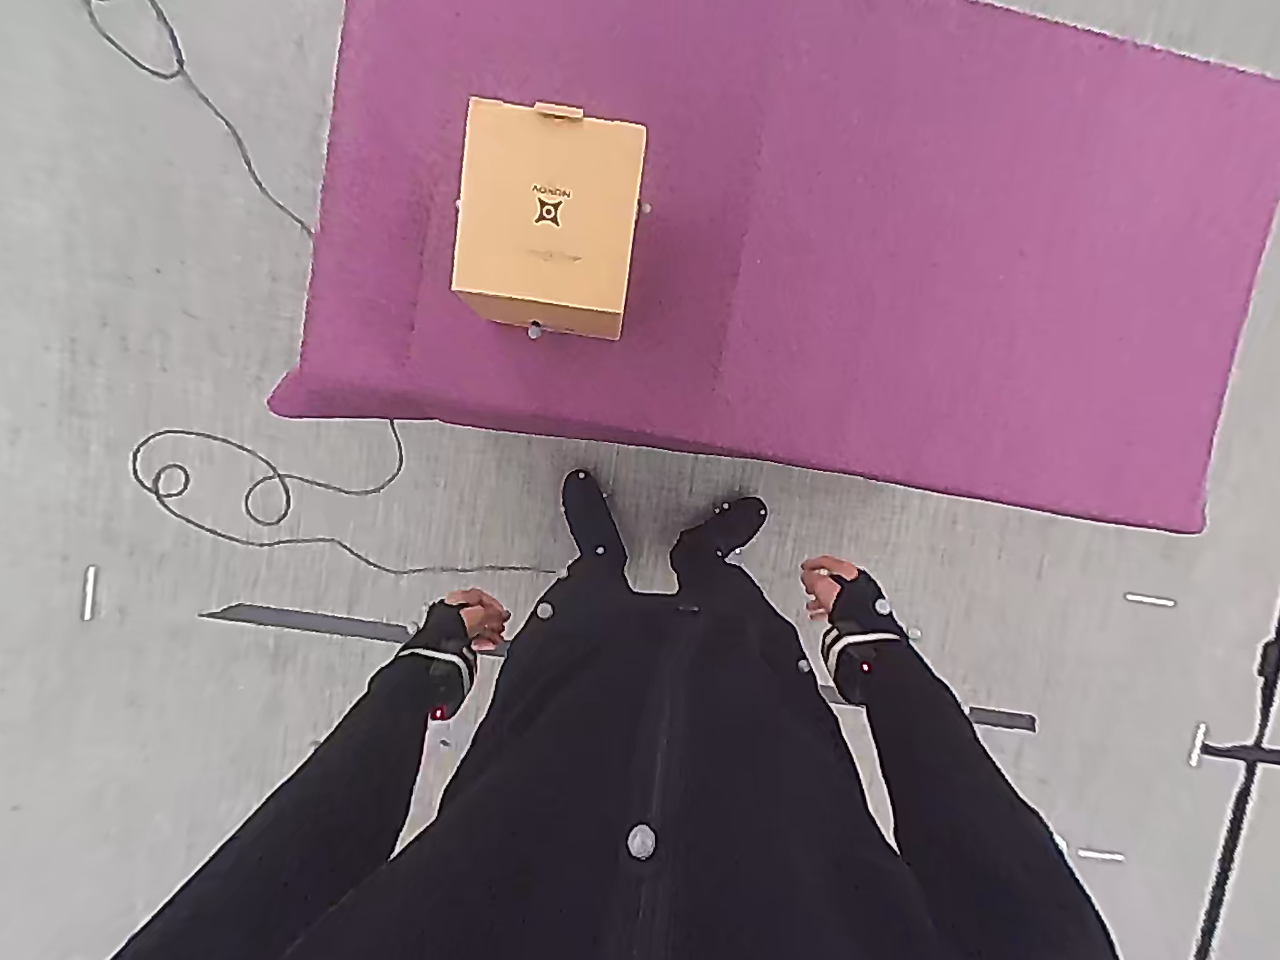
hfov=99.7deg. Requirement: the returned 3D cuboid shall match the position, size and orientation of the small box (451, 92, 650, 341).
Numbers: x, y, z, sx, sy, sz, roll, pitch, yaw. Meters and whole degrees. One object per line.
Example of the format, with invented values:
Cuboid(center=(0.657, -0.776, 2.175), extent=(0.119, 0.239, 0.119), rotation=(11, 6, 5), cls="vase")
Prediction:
Cuboid(center=(-0.089, -0.262, 0.580), extent=(0.168, 0.176, 0.179), rotation=(8, 95, -4), cls="small box")
